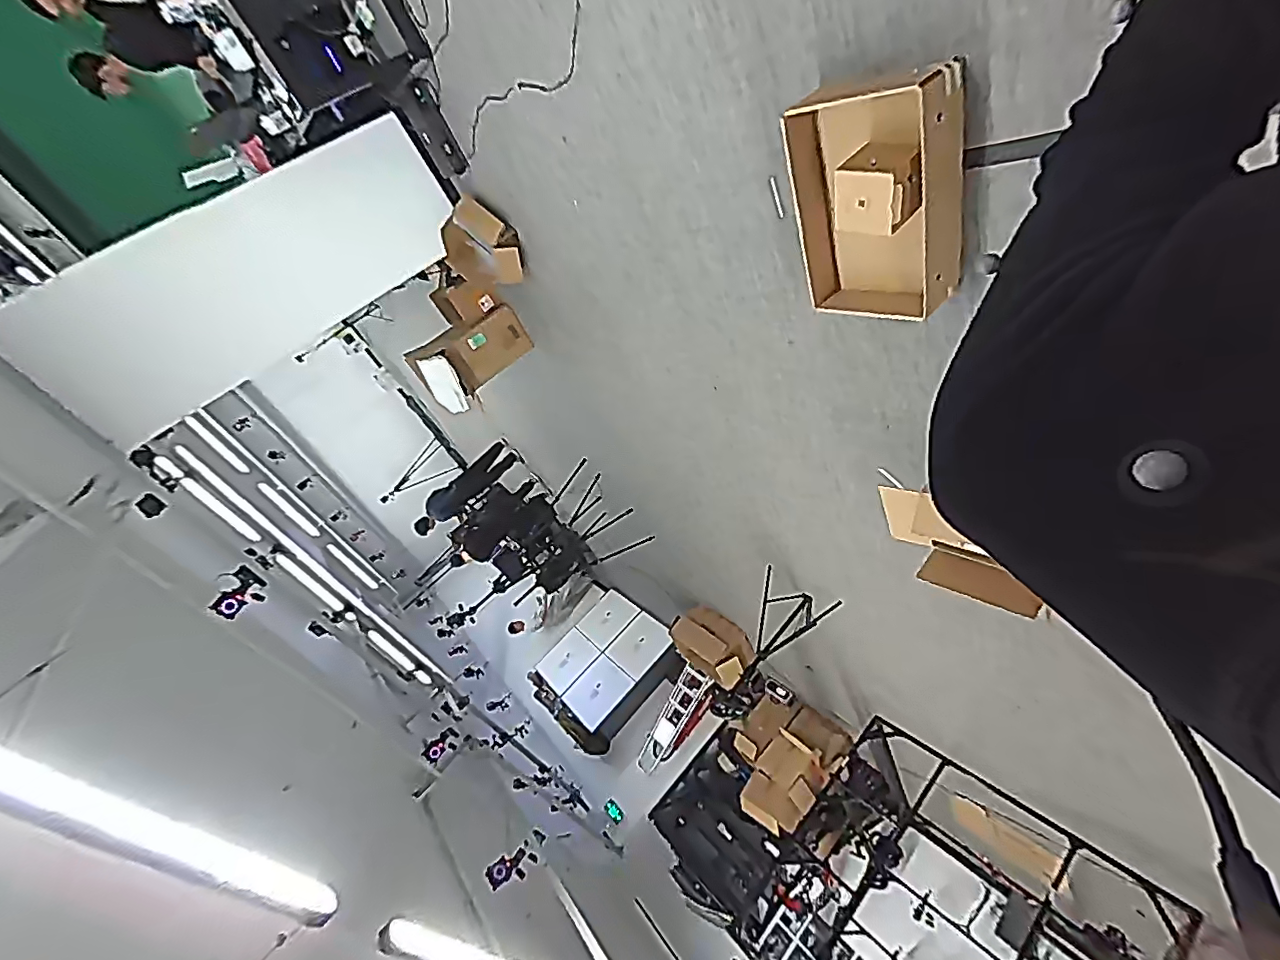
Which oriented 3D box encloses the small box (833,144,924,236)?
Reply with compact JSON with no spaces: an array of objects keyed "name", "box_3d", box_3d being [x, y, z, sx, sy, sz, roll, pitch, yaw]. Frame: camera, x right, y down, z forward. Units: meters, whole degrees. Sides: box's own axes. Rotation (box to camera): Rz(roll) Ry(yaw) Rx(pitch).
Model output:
[{"name":"small box","box_3d":[0.655,-0.803,1.489,0.179,0.176,0.168,31,155,38]}]
